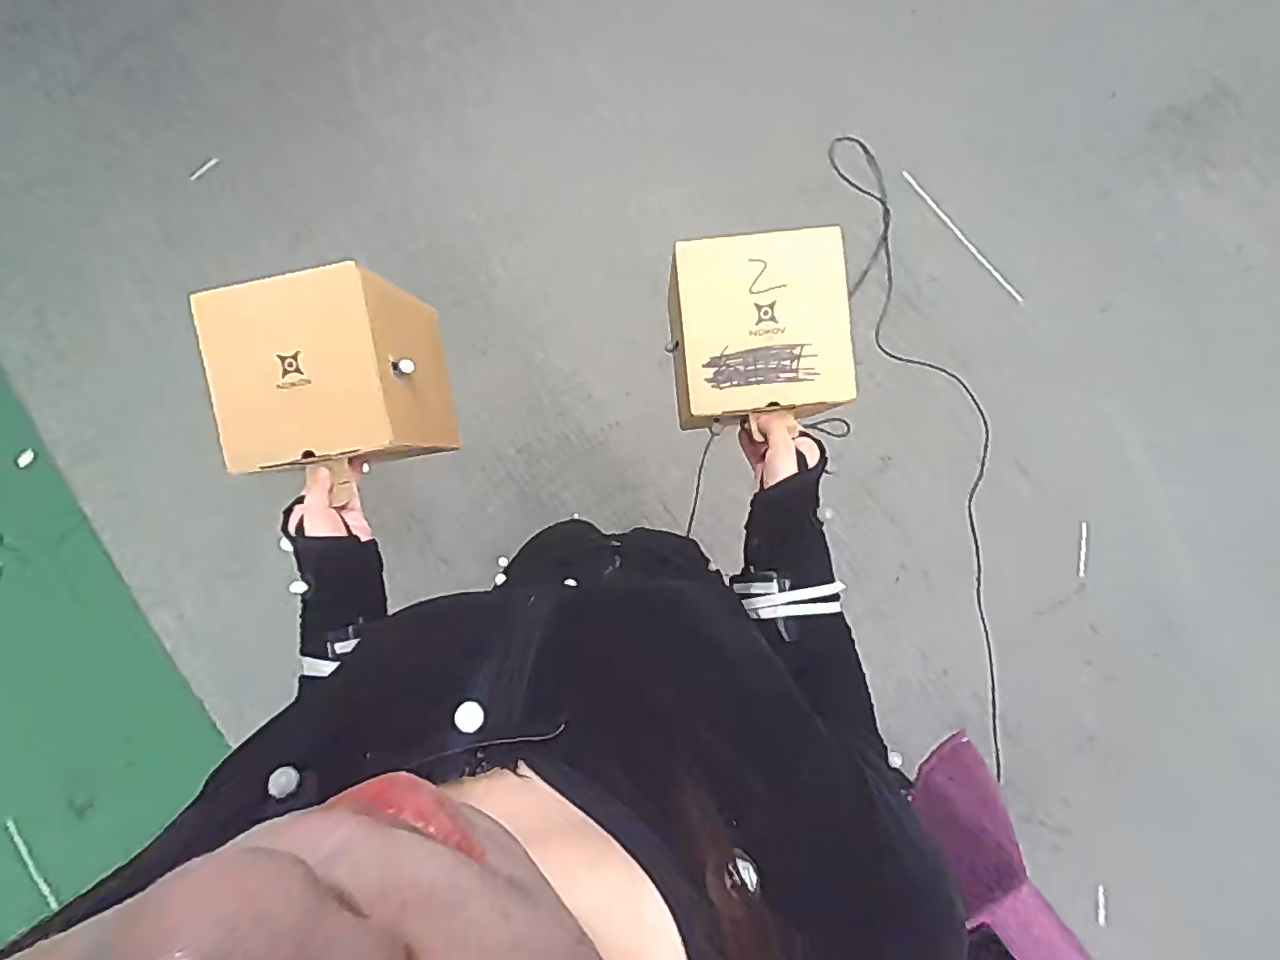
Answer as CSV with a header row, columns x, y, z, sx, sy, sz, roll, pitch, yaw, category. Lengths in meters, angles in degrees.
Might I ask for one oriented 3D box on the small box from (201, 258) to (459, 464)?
x,y,z,sx,sy,sz,roll,pitch,yaw,category
-0.315,-0.114,0.584,0.168,0.176,0.179,-8,94,3,small box
